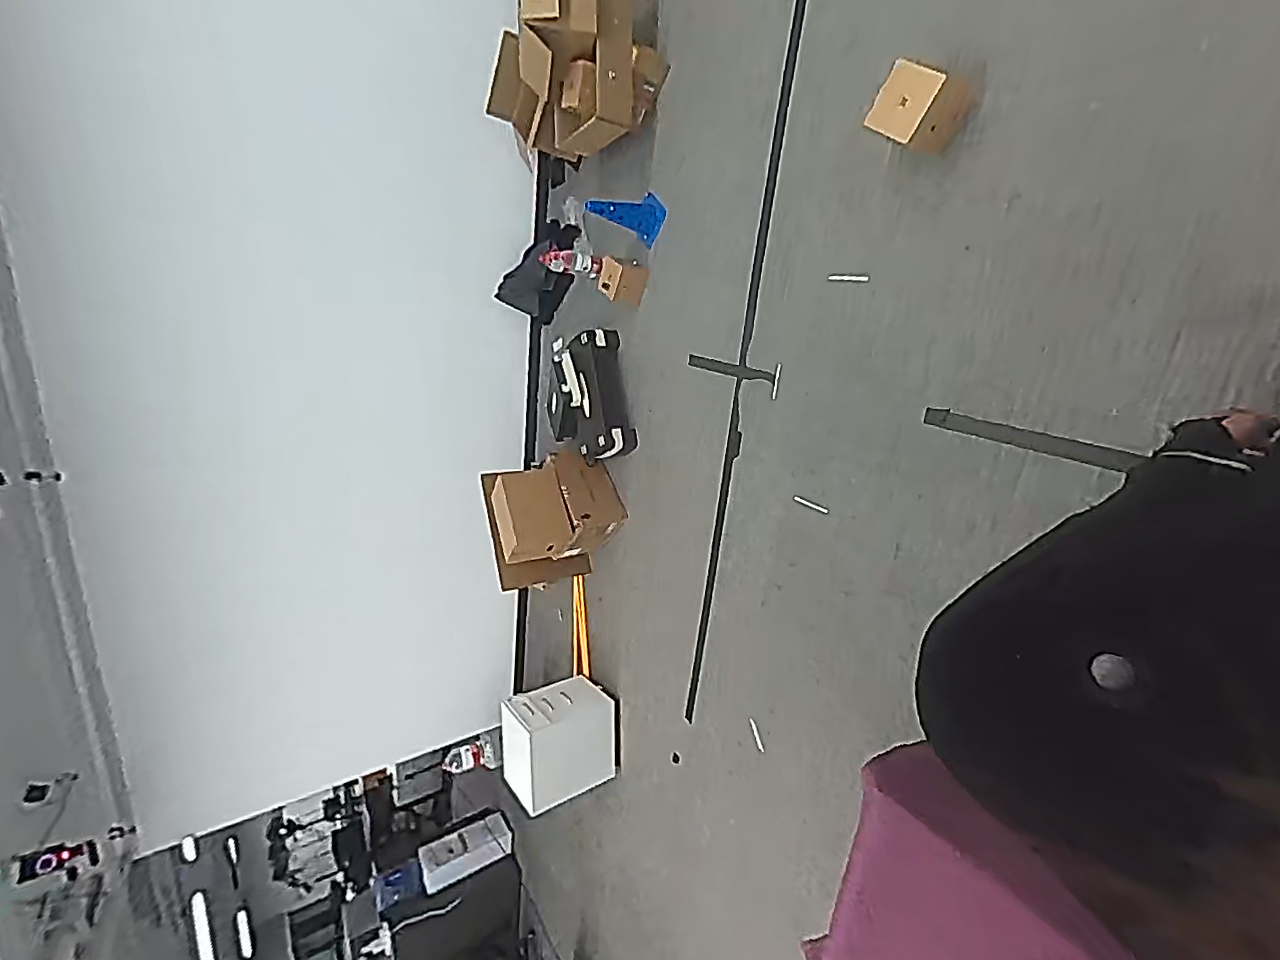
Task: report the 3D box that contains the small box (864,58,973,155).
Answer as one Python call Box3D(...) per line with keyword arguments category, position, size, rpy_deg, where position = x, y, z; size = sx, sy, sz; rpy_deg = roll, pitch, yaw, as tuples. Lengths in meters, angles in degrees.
Box3D(category="small box", position=(0.778, -1.035, 1.511), size=(0.179, 0.176, 0.168), rpy_deg=(56, 136, 34))
